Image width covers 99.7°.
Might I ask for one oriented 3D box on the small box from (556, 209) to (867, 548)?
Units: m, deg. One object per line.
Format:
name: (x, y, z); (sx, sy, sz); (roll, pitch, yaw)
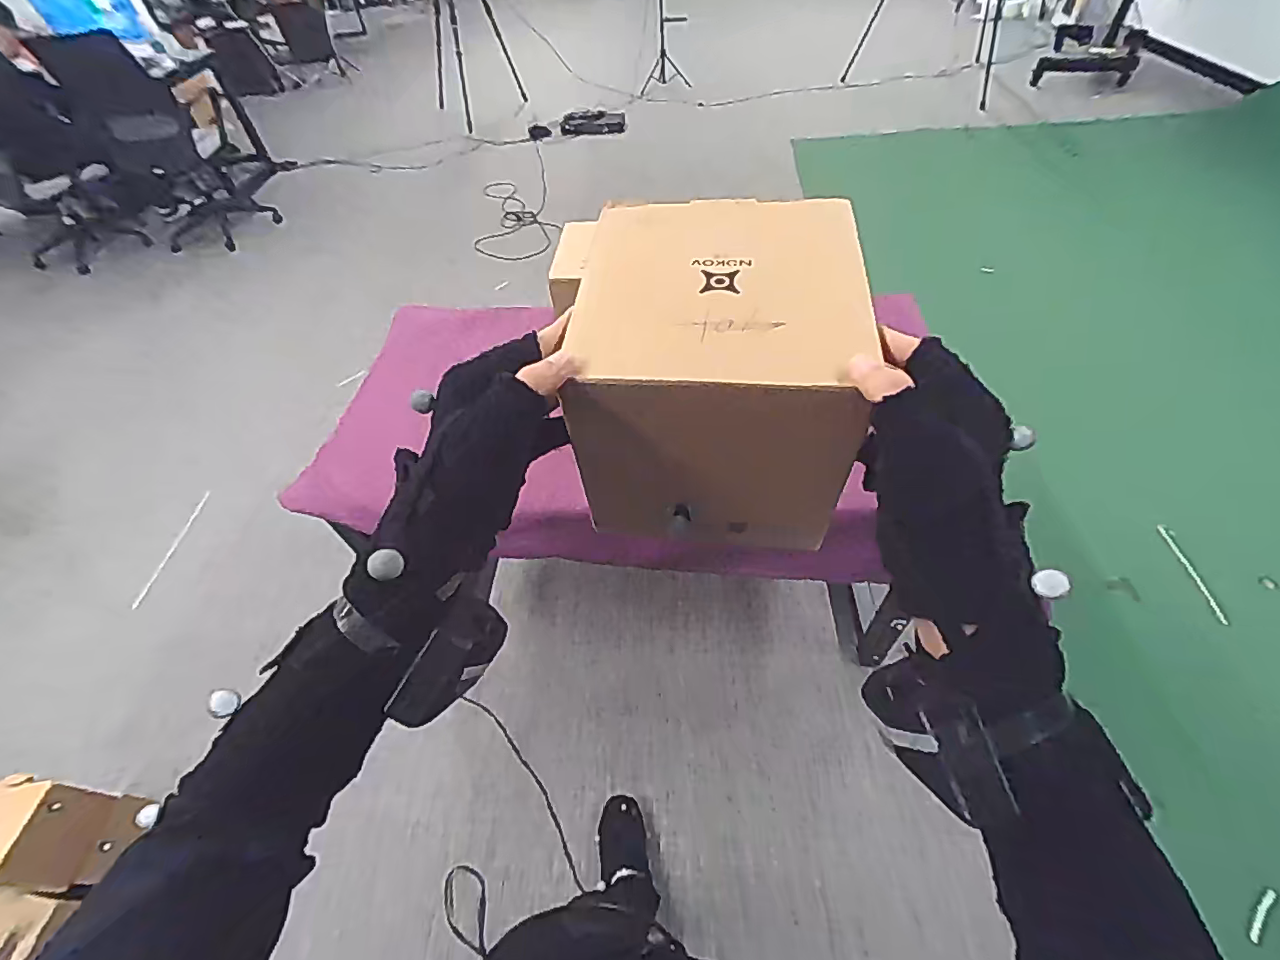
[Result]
small box: (0.049, -0.071, 0.393); (0.168, 0.176, 0.179); (3, 55, 7)

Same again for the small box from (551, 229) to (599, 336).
small box: (-0.037, -0.291, 0.884); (0.168, 0.176, 0.179); (0, 50, 6)

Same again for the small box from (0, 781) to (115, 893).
small box: (-1.252, 0.729, 1.102); (0.168, 0.176, 0.179); (-2, 49, 4)
